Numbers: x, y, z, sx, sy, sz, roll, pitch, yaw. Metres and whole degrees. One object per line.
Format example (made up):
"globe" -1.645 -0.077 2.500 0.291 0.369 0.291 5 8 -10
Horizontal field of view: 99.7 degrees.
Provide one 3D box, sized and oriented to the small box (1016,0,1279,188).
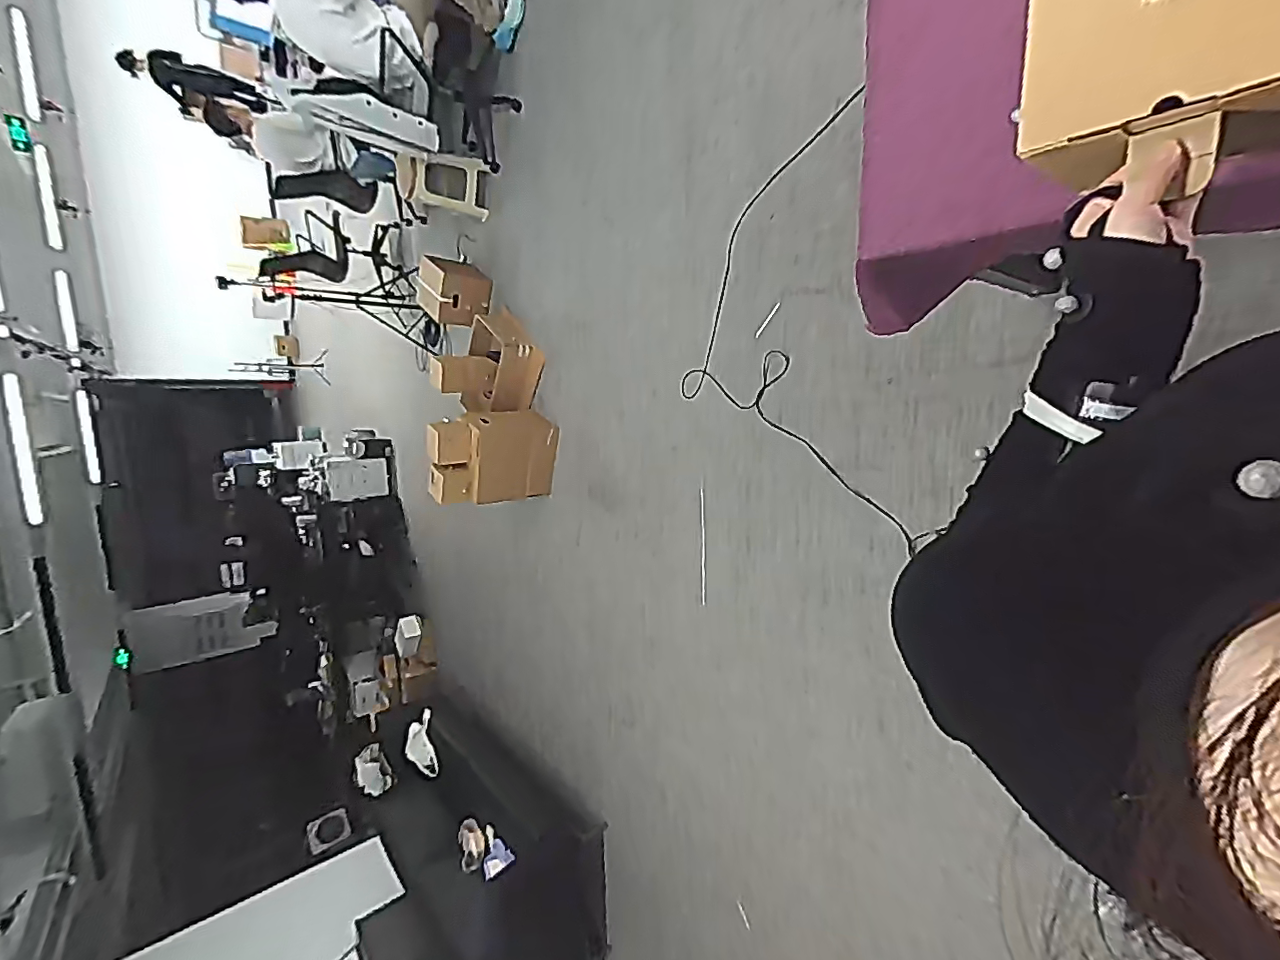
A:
"small box" 0.403 -0.340 0.394 0.168 0.176 0.179 11 108 50
